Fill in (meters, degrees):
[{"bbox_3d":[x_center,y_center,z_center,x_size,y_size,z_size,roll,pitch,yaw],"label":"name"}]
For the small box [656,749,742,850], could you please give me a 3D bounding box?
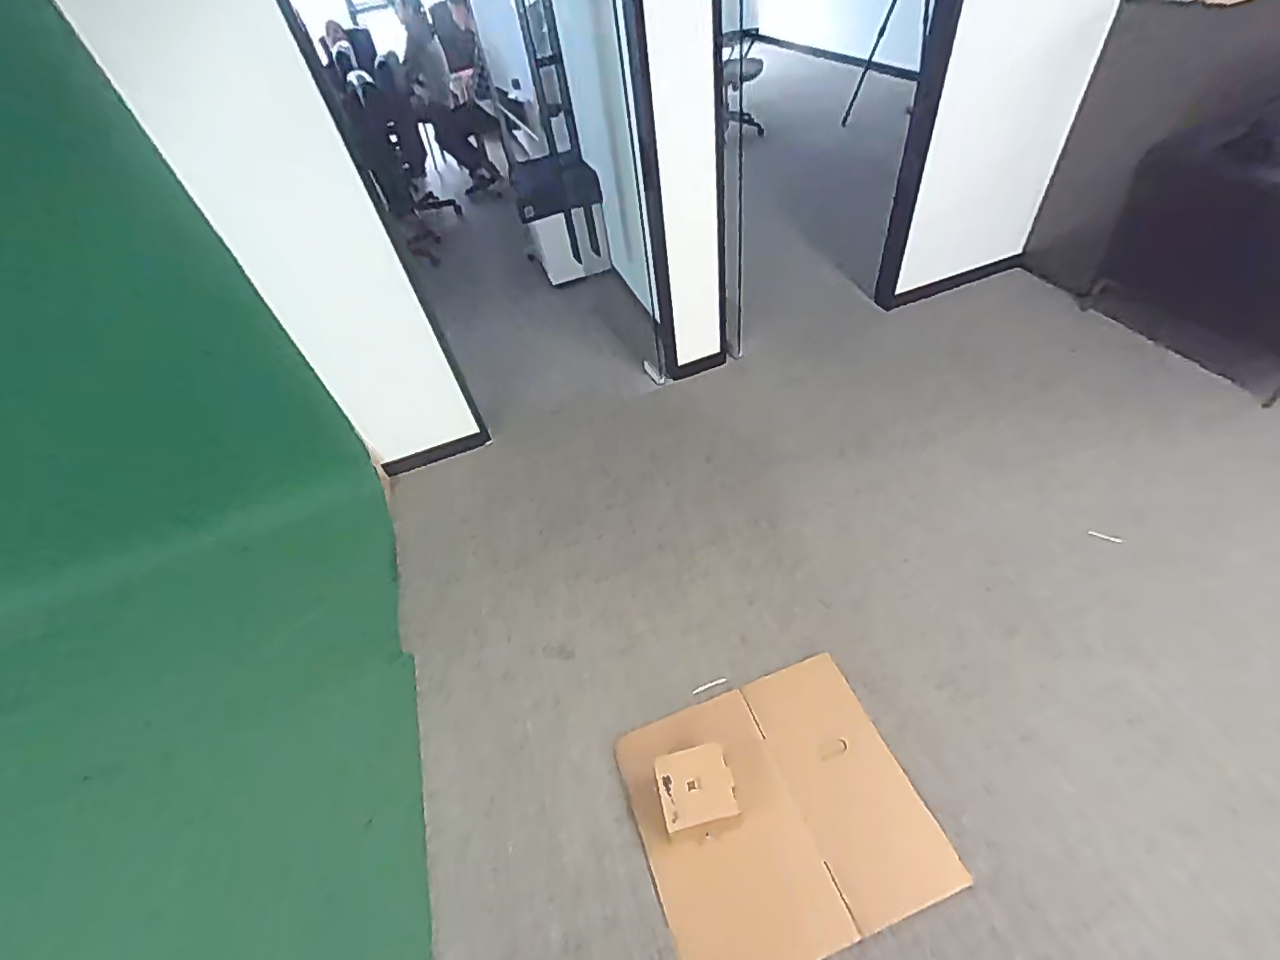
[{"bbox_3d":[0.146,0.801,1.354,0.179,0.176,0.168,-13,47,-2],"label":"small box"}]
